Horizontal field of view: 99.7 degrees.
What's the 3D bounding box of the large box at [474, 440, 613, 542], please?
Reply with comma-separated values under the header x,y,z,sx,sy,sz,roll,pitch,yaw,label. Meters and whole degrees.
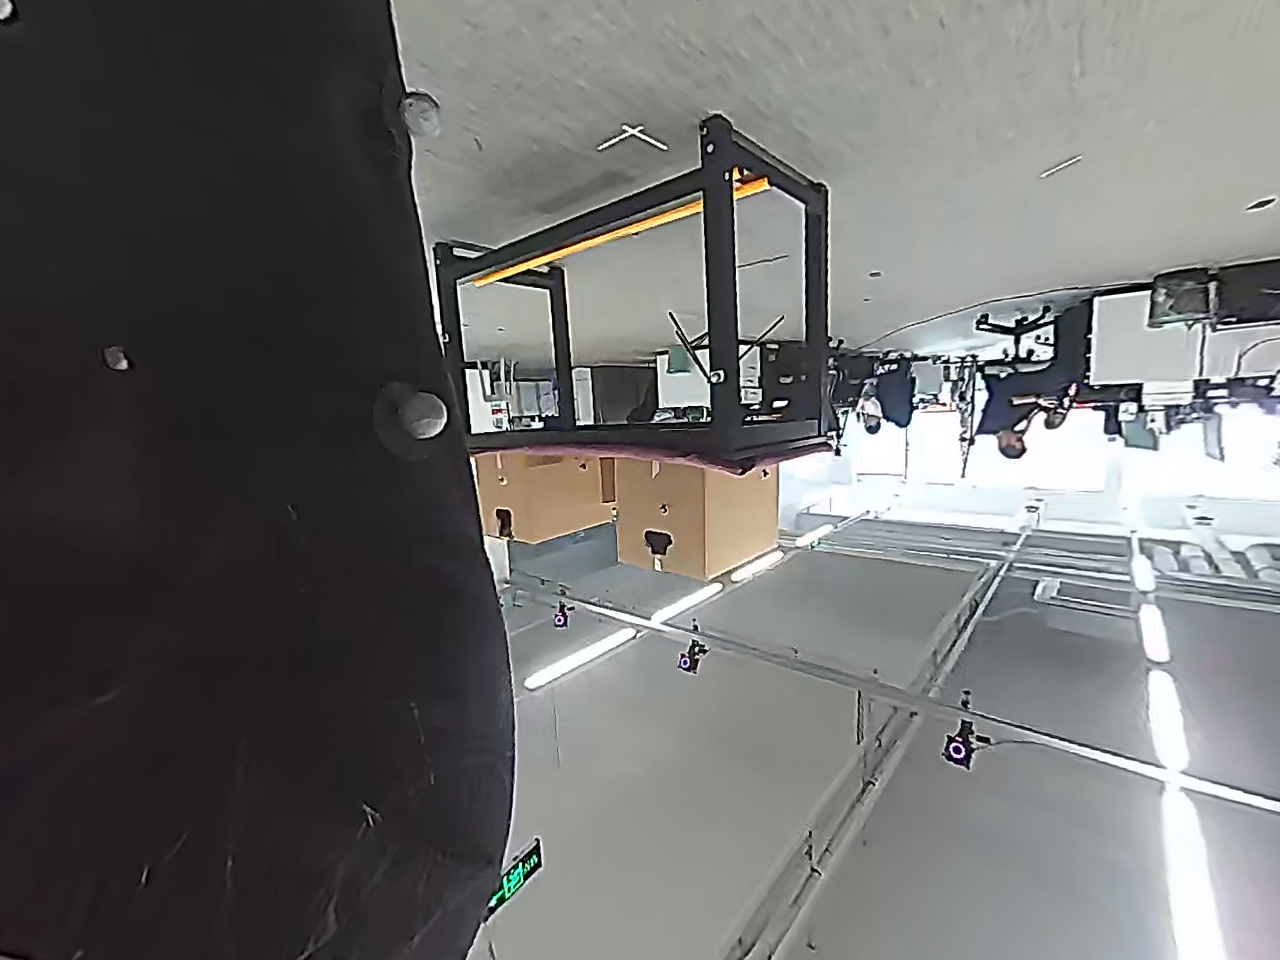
x,y,z,sx,sy,sz,roll,pitch,yaw,label
-0.358,0.026,2.038,0.320,0.320,0.408,4,-169,41,large box
